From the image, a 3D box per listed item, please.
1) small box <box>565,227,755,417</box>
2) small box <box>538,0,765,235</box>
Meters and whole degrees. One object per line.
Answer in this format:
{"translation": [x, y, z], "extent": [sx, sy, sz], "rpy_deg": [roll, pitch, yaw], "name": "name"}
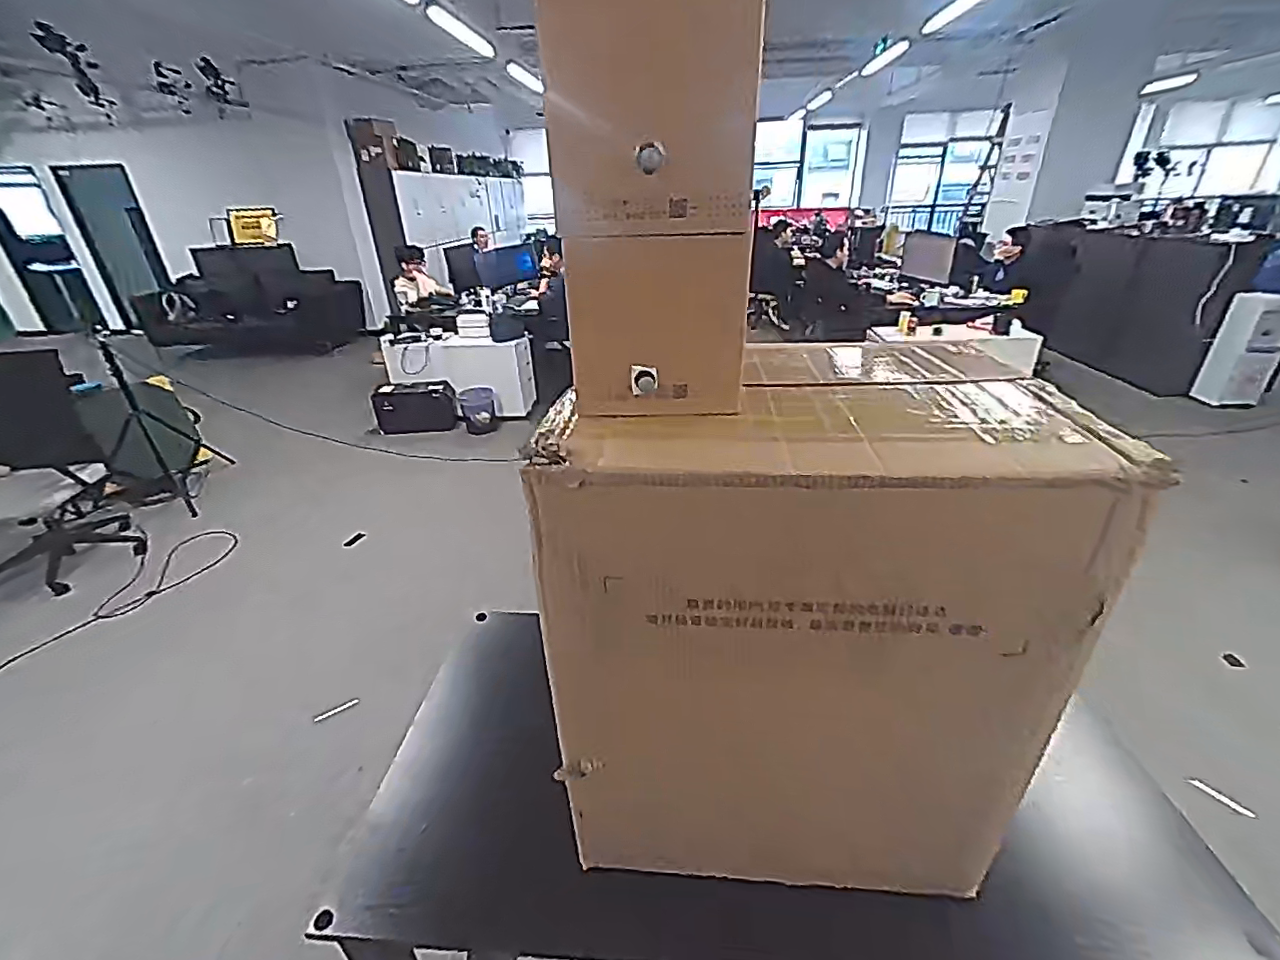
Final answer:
{"translation": [0.018, -0.174, 0.568], "extent": [0.168, 0.176, 0.179], "rpy_deg": [-2, 30, 0], "name": "small box"}
{"translation": [0.011, -0.318, 0.487], "extent": [0.168, 0.176, 0.179], "rpy_deg": [-1, 29, 2], "name": "small box"}
